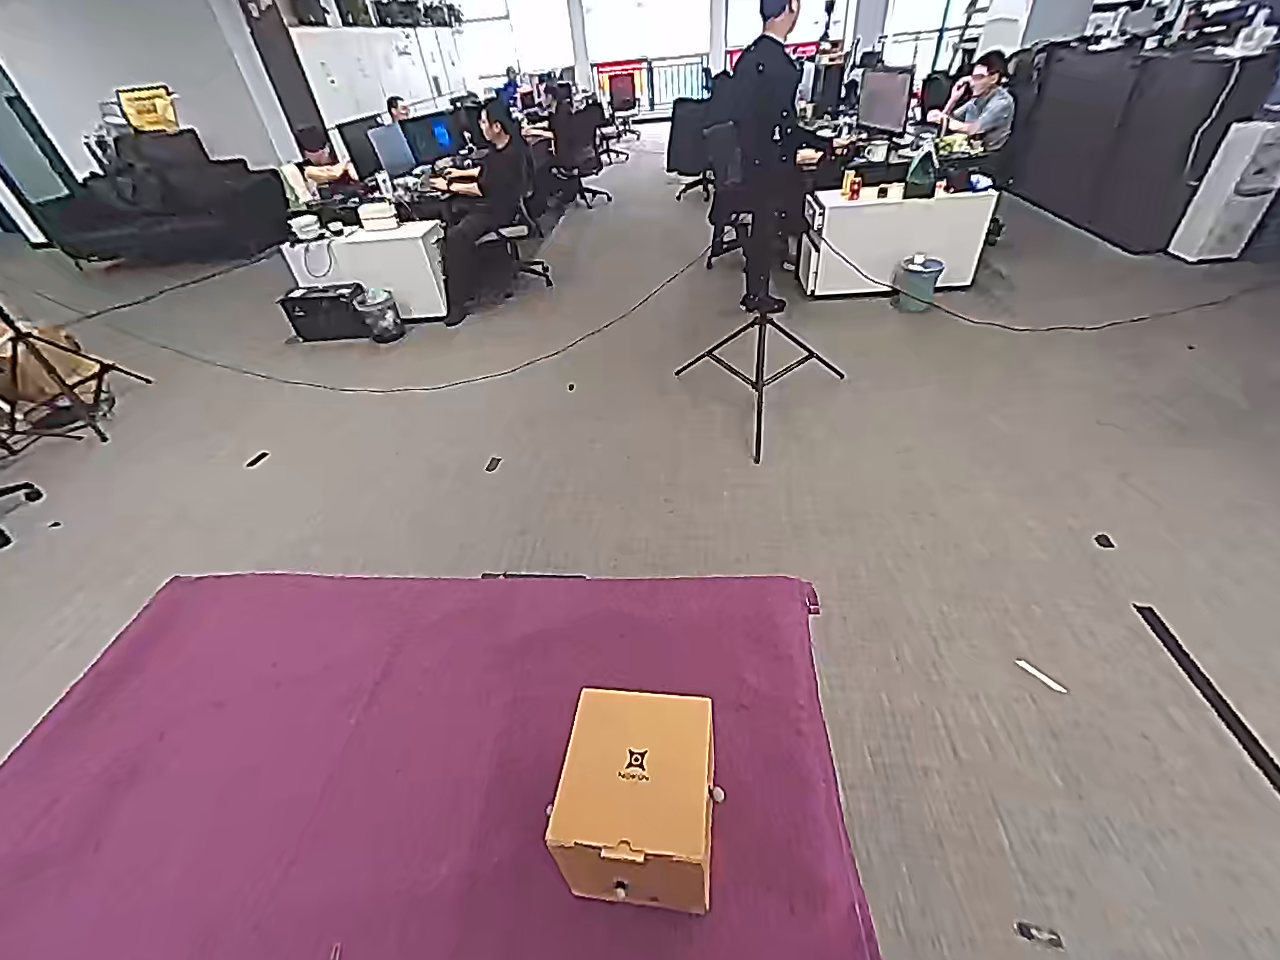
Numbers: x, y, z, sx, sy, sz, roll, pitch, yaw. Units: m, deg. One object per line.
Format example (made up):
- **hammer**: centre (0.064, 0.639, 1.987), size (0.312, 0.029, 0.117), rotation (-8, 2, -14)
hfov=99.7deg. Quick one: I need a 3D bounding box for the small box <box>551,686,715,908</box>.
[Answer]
- **small box**: centre (0.005, 0.381, 0.659), size (0.168, 0.176, 0.179), rotation (1, 39, 9)
